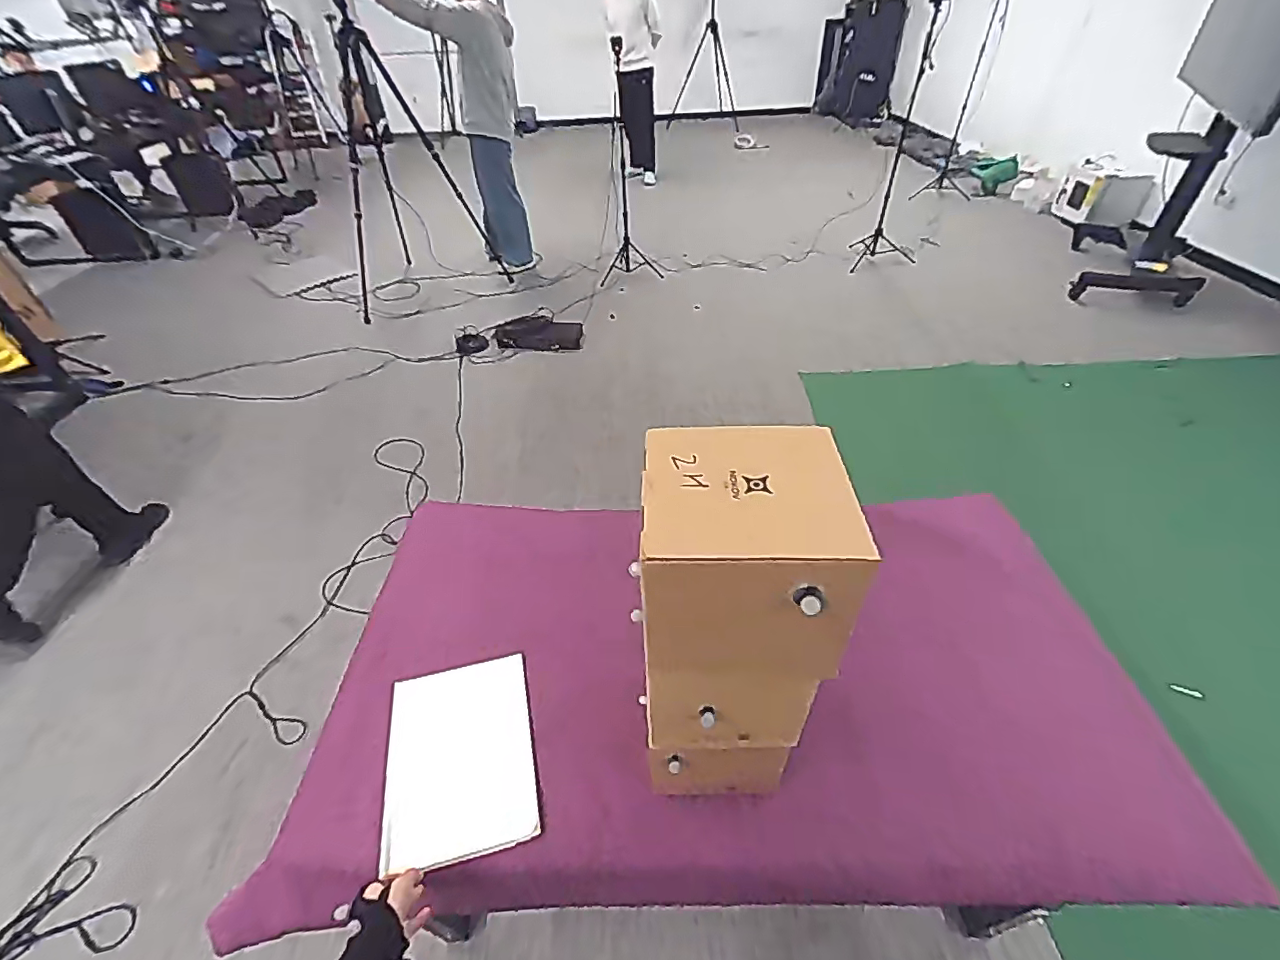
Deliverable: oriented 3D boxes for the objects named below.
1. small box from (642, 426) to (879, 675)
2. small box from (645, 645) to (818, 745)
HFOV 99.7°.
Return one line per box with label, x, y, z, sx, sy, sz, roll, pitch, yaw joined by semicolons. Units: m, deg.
small box;0.094;0.066;0.506;0.179;0.176;0.168;0;40;3
small box;0.091;0.186;0.620;0.168;0.176;0.179;-1;41;1
